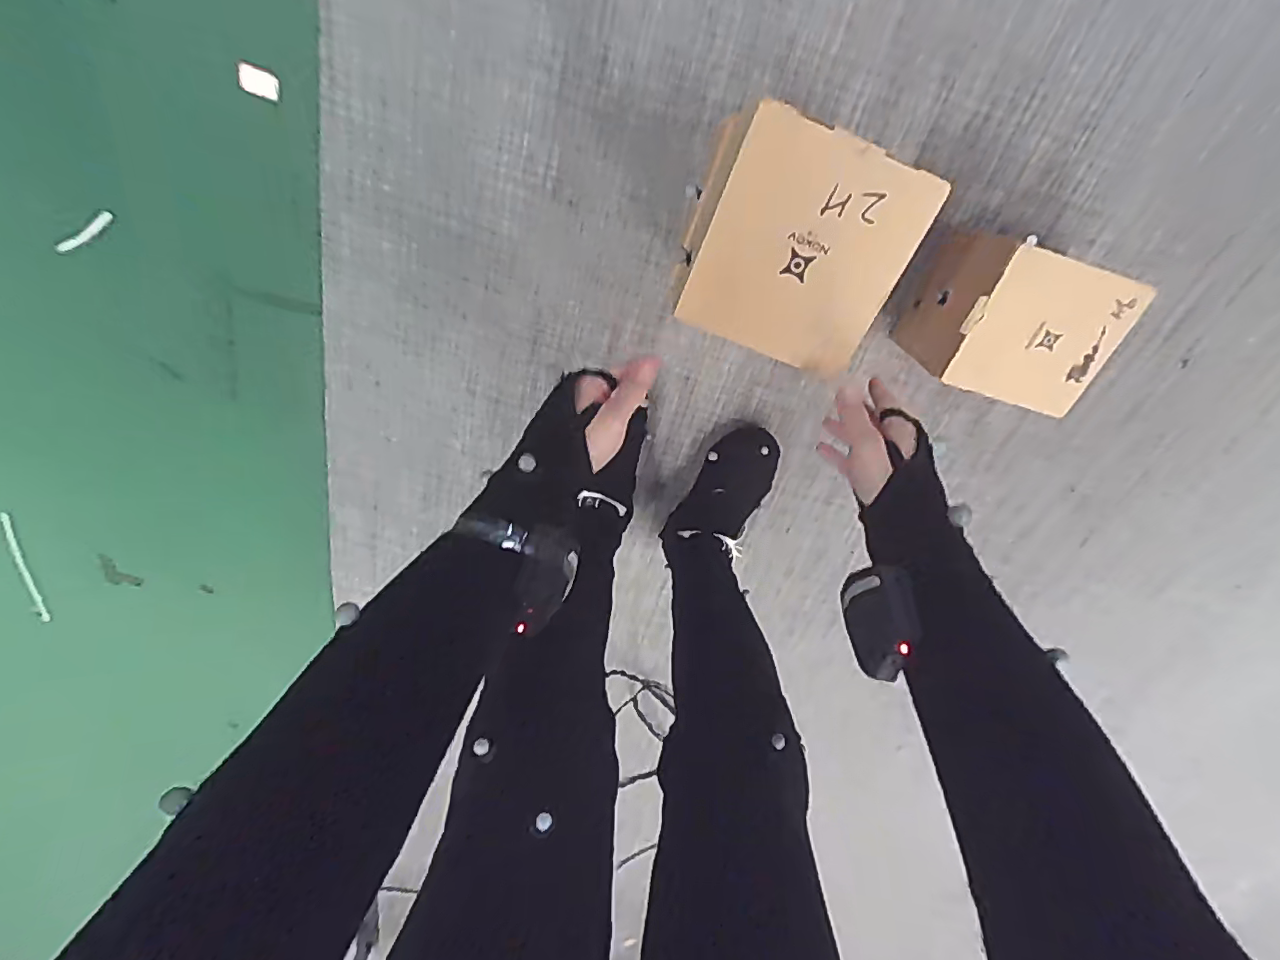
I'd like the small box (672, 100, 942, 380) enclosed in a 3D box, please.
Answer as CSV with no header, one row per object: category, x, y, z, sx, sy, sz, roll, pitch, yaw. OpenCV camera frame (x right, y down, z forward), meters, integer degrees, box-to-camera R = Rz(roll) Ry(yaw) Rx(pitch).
small box,0.140,-0.229,0.525,0.168,0.176,0.179,19,119,-8

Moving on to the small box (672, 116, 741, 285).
small box,0.147,-0.313,0.666,0.168,0.176,0.179,18,119,-6

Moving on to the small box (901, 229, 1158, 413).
small box,0.474,-0.212,0.698,0.179,0.176,0.168,16,121,-4
